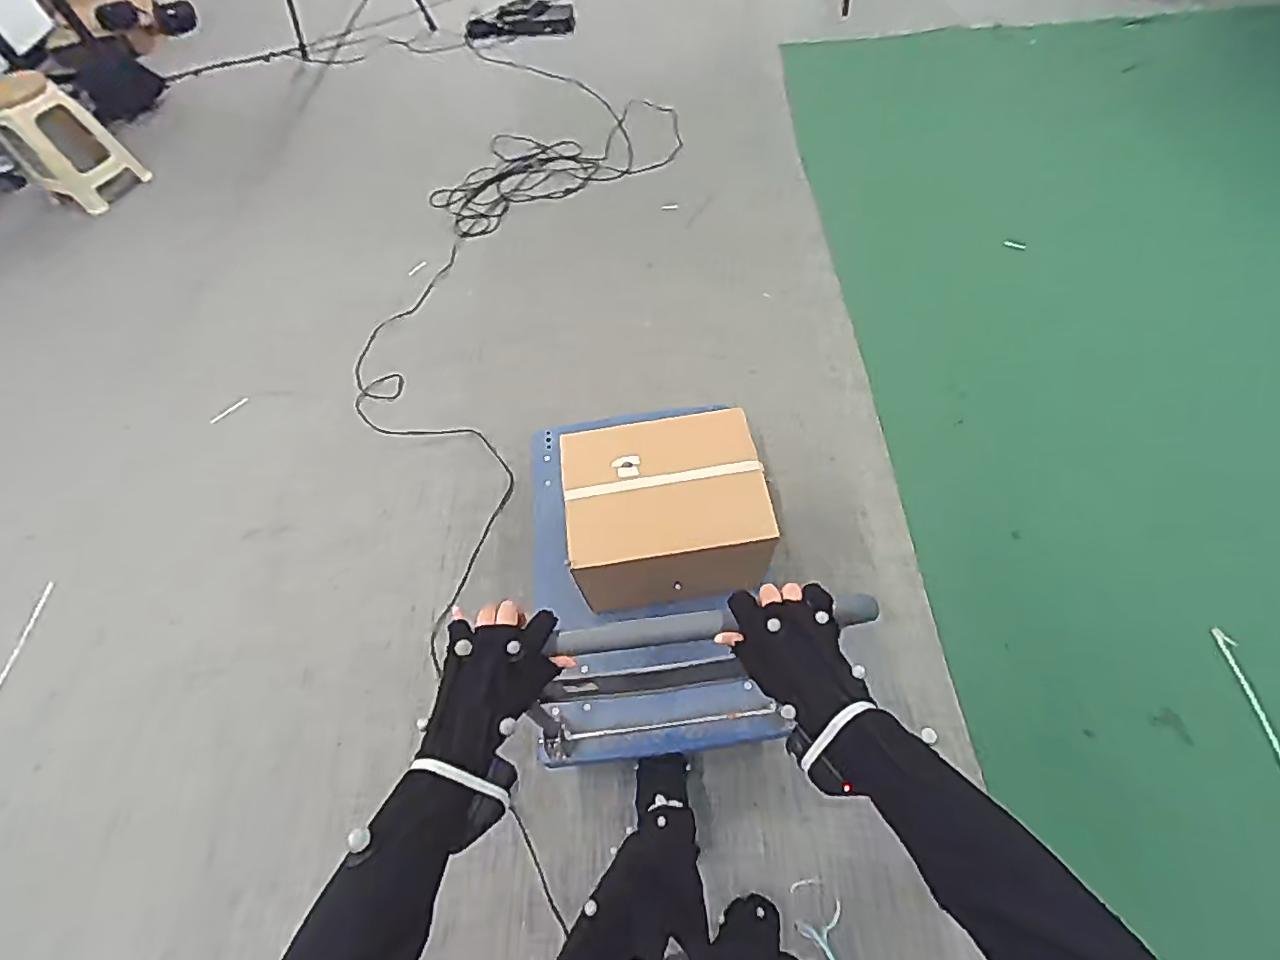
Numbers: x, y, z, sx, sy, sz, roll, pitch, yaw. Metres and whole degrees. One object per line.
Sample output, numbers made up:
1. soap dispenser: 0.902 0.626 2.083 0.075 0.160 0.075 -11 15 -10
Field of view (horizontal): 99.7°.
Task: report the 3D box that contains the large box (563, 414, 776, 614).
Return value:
1. large box: 0.063 0.091 1.240 0.408 0.320 0.320 -9 59 2
